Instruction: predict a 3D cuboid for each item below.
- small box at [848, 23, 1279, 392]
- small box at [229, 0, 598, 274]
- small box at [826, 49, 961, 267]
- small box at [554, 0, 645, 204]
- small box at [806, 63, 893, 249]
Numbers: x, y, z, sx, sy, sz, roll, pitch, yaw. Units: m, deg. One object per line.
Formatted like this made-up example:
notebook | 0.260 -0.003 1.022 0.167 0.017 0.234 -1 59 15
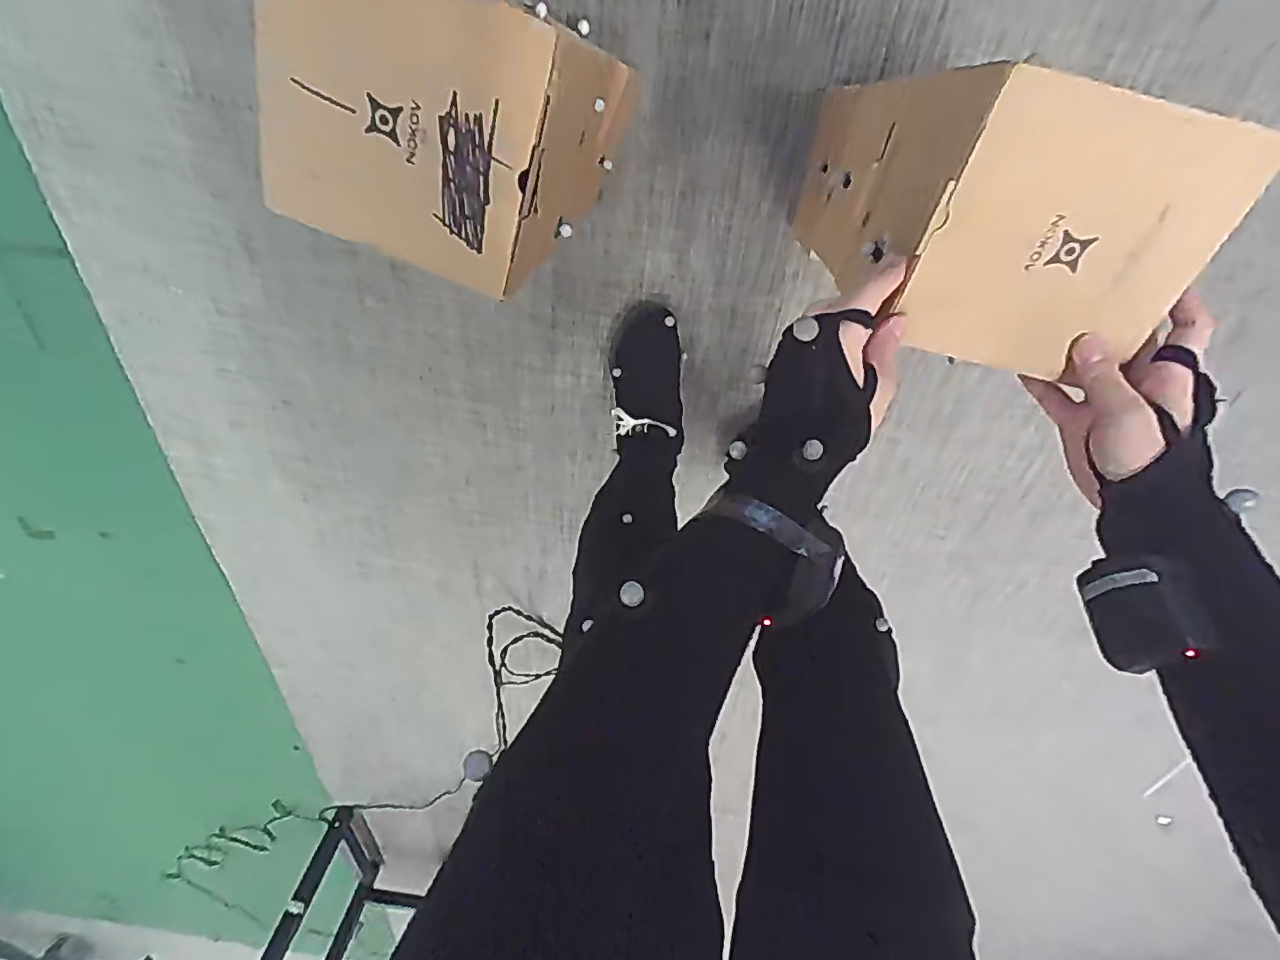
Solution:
small box | 0.275 -0.191 0.388 0.179 0.176 0.168 15 126 -3
small box | -0.143 -0.277 0.382 0.179 0.176 0.168 22 125 -6
small box | 0.296 -0.287 0.518 0.179 0.176 0.168 12 126 1
small box | -0.104 -0.468 0.647 0.168 0.176 0.179 26 124 -11
small box | 0.309 -0.378 0.652 0.168 0.176 0.179 10 126 1
